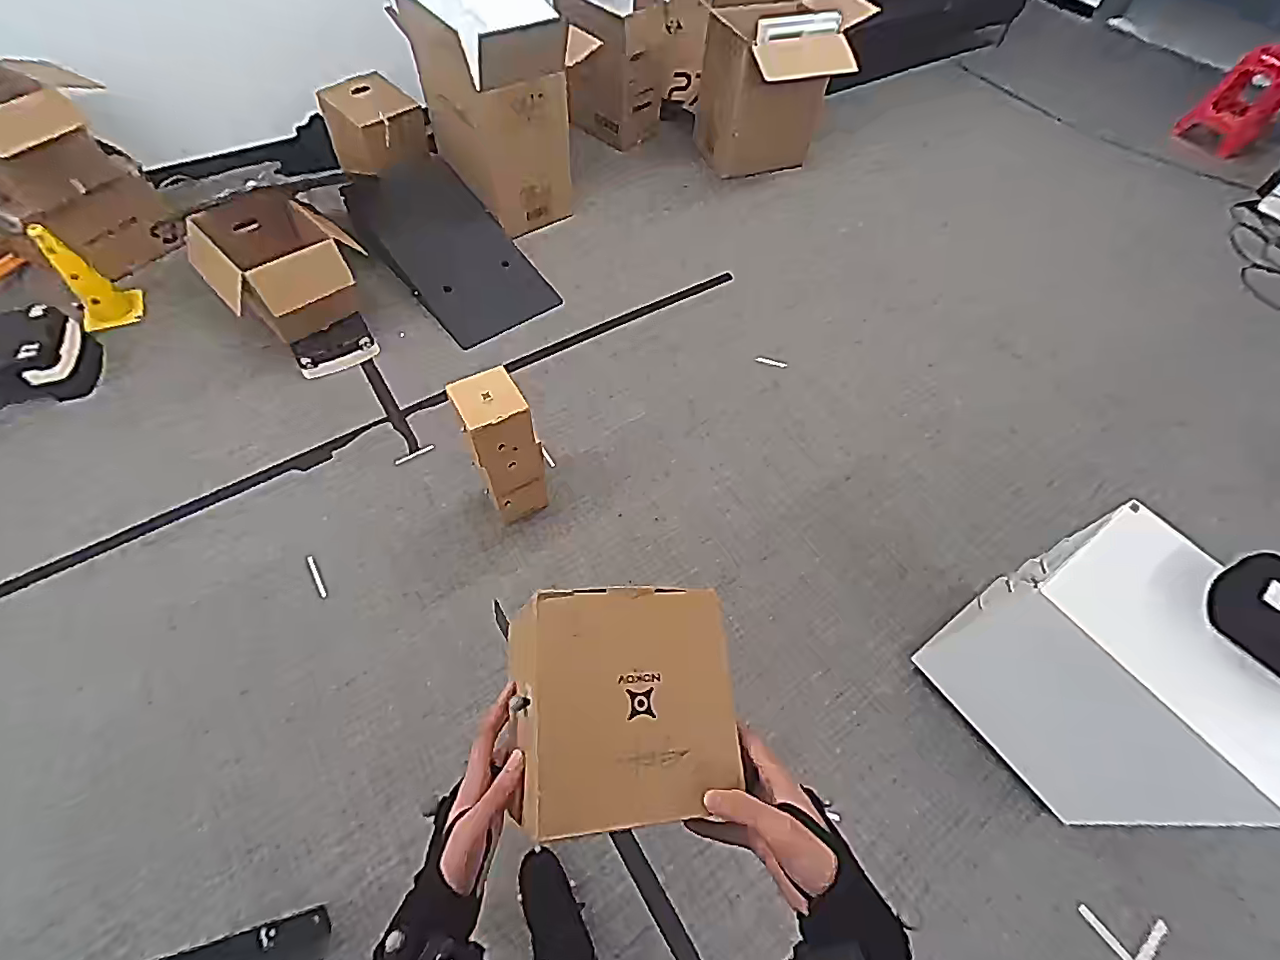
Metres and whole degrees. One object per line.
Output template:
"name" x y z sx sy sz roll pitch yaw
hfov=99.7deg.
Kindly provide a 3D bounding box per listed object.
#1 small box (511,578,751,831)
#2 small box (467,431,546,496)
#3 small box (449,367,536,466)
"small box" -0.022 0.197 0.490 0.168 0.176 0.179 5 65 -19
"small box" -0.396 -0.082 1.613 0.179 0.176 0.168 -28 63 -21
"small box" -0.398 -0.170 1.476 0.168 0.176 0.179 -26 63 -20
